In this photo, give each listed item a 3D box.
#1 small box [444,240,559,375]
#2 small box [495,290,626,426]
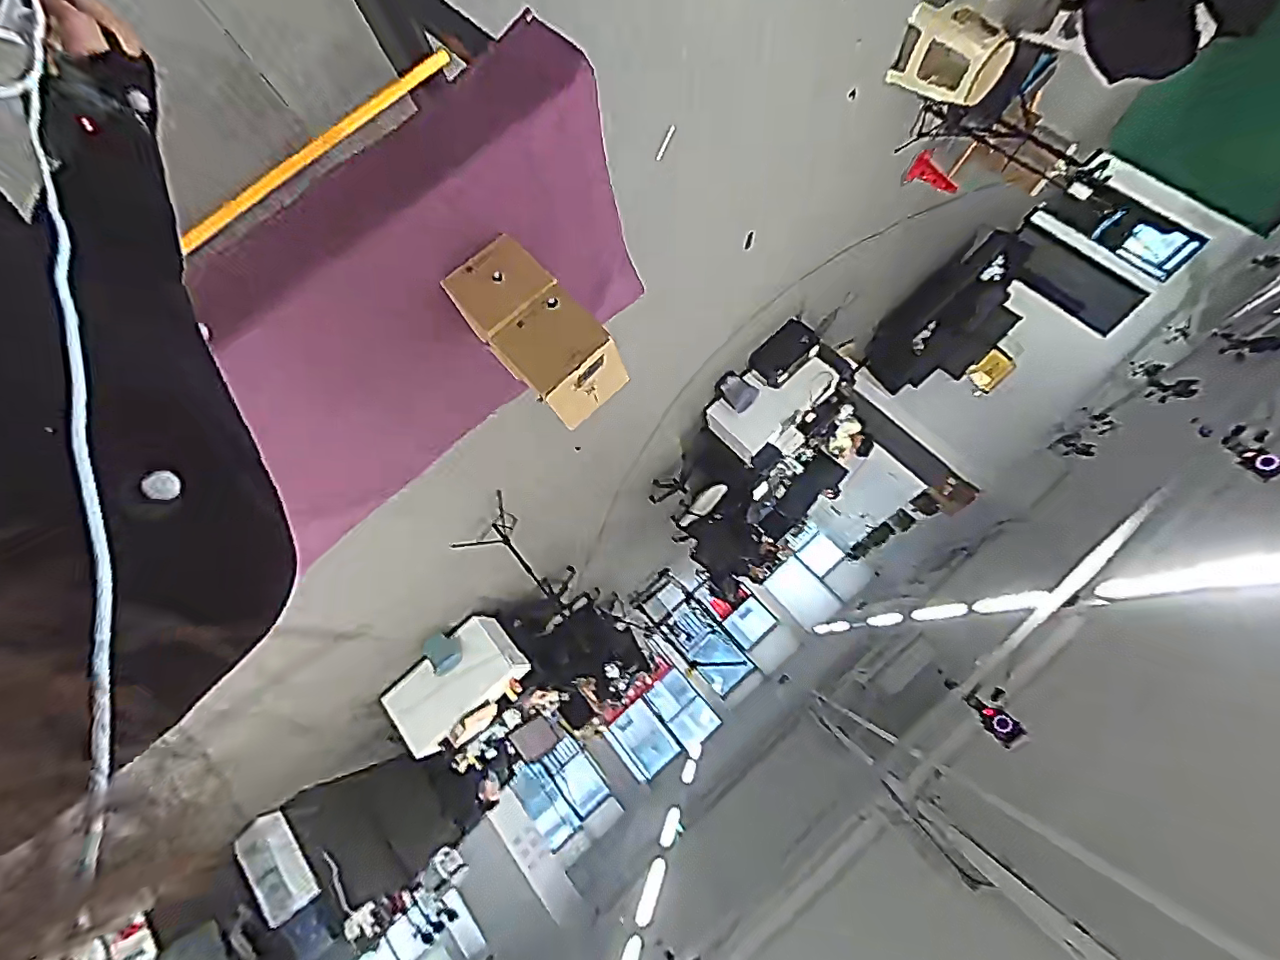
[{"bbox_3d":[-0.266,-0.356,1.102,0.168,0.176,0.179,-40,162,-8],"label":"small box"},{"bbox_3d":[-0.154,-0.242,1.063,0.168,0.176,0.179,-42,163,-3],"label":"small box"}]
